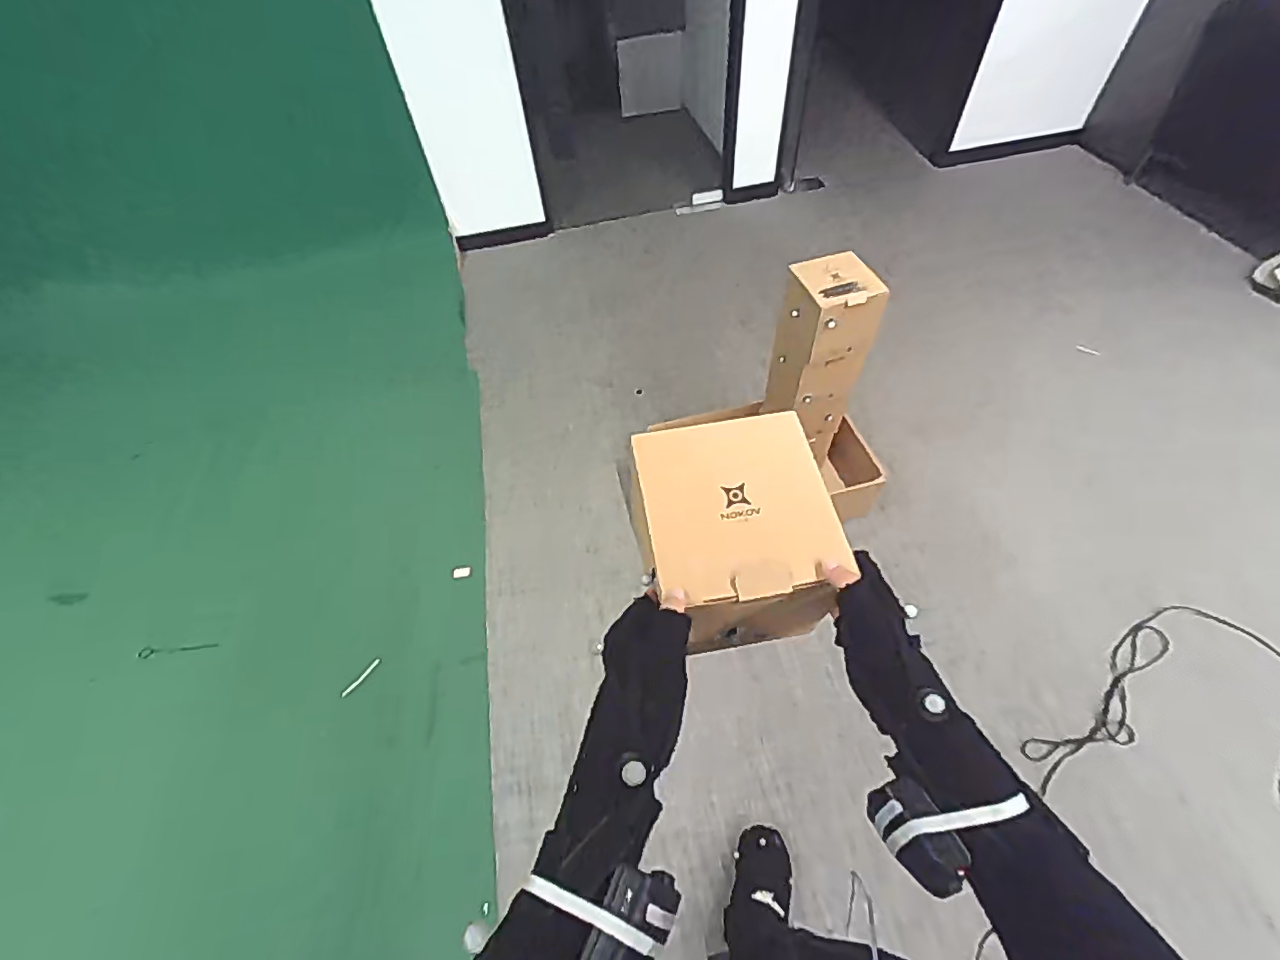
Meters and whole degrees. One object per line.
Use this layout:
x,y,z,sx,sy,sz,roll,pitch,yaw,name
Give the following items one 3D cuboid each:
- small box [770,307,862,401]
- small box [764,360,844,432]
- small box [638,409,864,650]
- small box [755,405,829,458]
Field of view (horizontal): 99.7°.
0.458,-0.327,1.436,0.168,0.176,0.179,-13,54,-5,small box
0.469,-0.247,1.559,0.168,0.176,0.179,-14,54,-5,small box
0.090,0.055,0.548,0.168,0.176,0.179,-9,61,-5,small box
0.469,-0.135,1.704,0.168,0.176,0.179,-18,54,-6,small box
